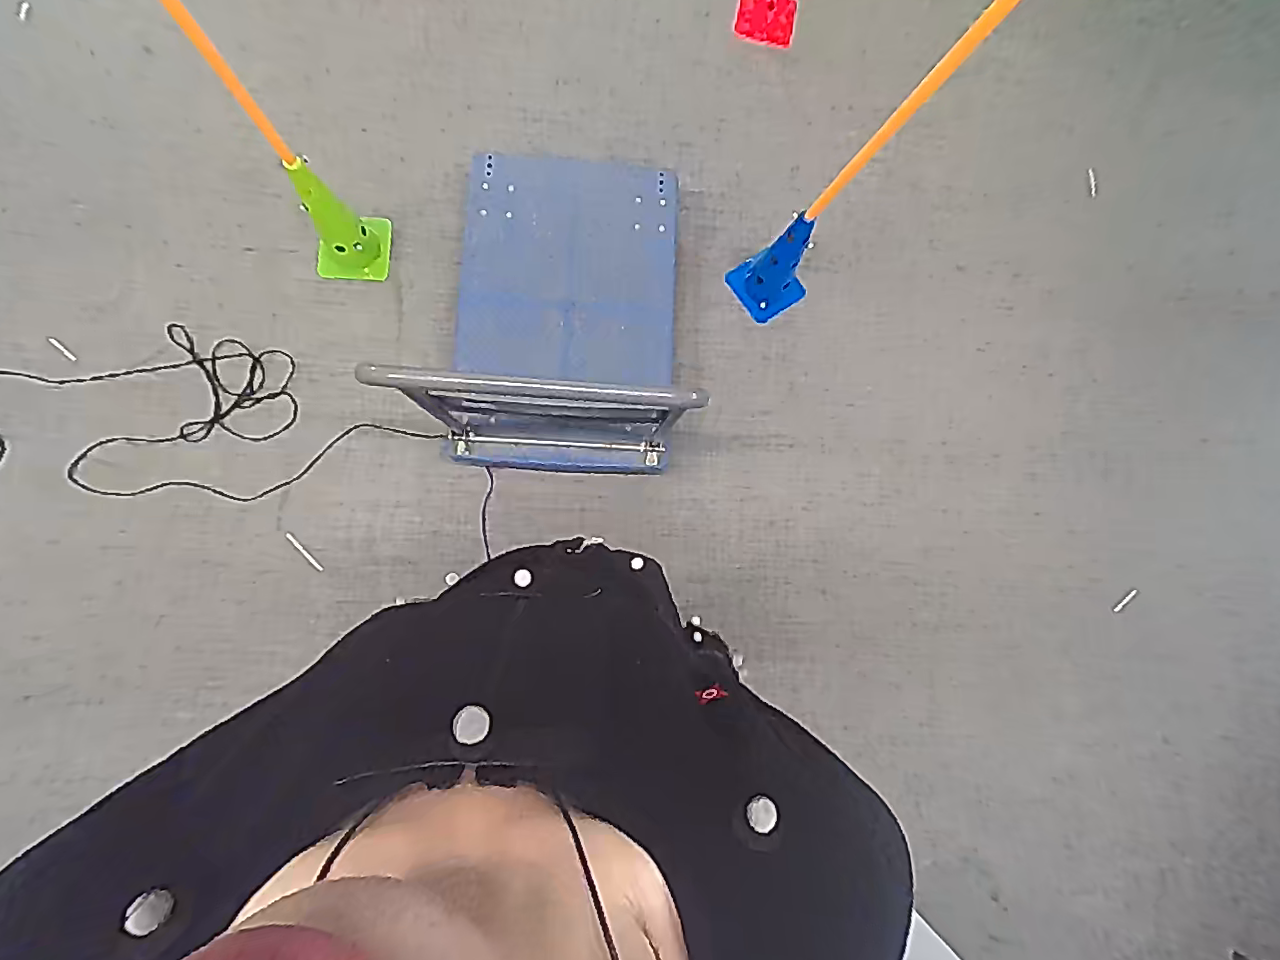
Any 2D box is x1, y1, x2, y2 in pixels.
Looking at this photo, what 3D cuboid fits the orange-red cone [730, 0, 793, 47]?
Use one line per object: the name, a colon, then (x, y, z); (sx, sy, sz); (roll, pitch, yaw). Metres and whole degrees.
orange-red cone: (0.432, -1.607, 1.682); (0.198, 0.360, 0.199); (13, 81, -2)
